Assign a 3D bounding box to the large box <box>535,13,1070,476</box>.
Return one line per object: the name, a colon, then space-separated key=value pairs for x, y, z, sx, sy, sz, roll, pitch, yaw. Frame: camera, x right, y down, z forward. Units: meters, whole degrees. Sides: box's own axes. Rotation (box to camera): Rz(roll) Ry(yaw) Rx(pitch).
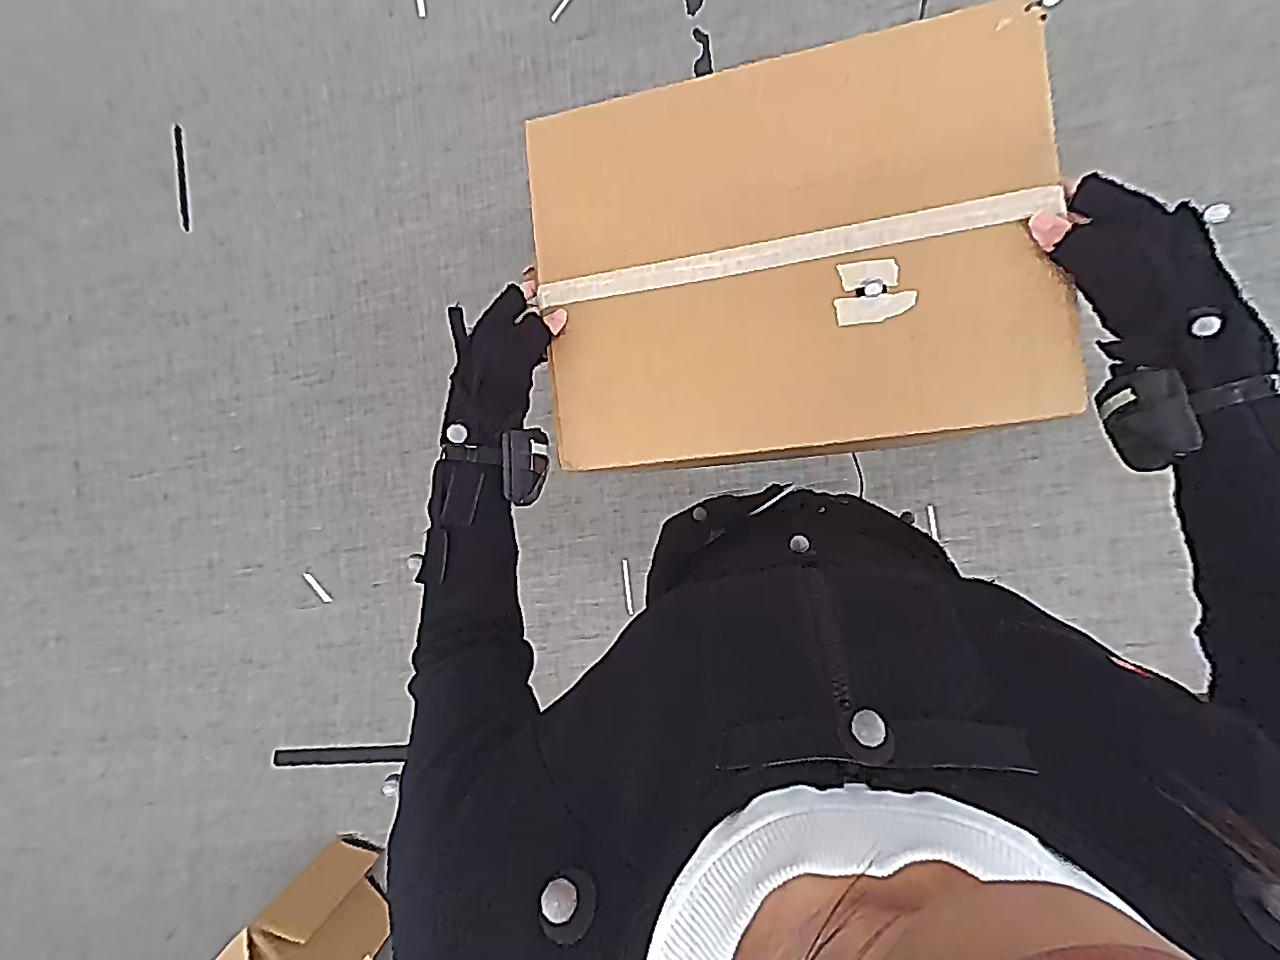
large box: x=0.142 y=-0.182 z=0.594 sx=0.408 sy=0.320 sz=0.320 roll=-7 pitch=90 yaw=11
